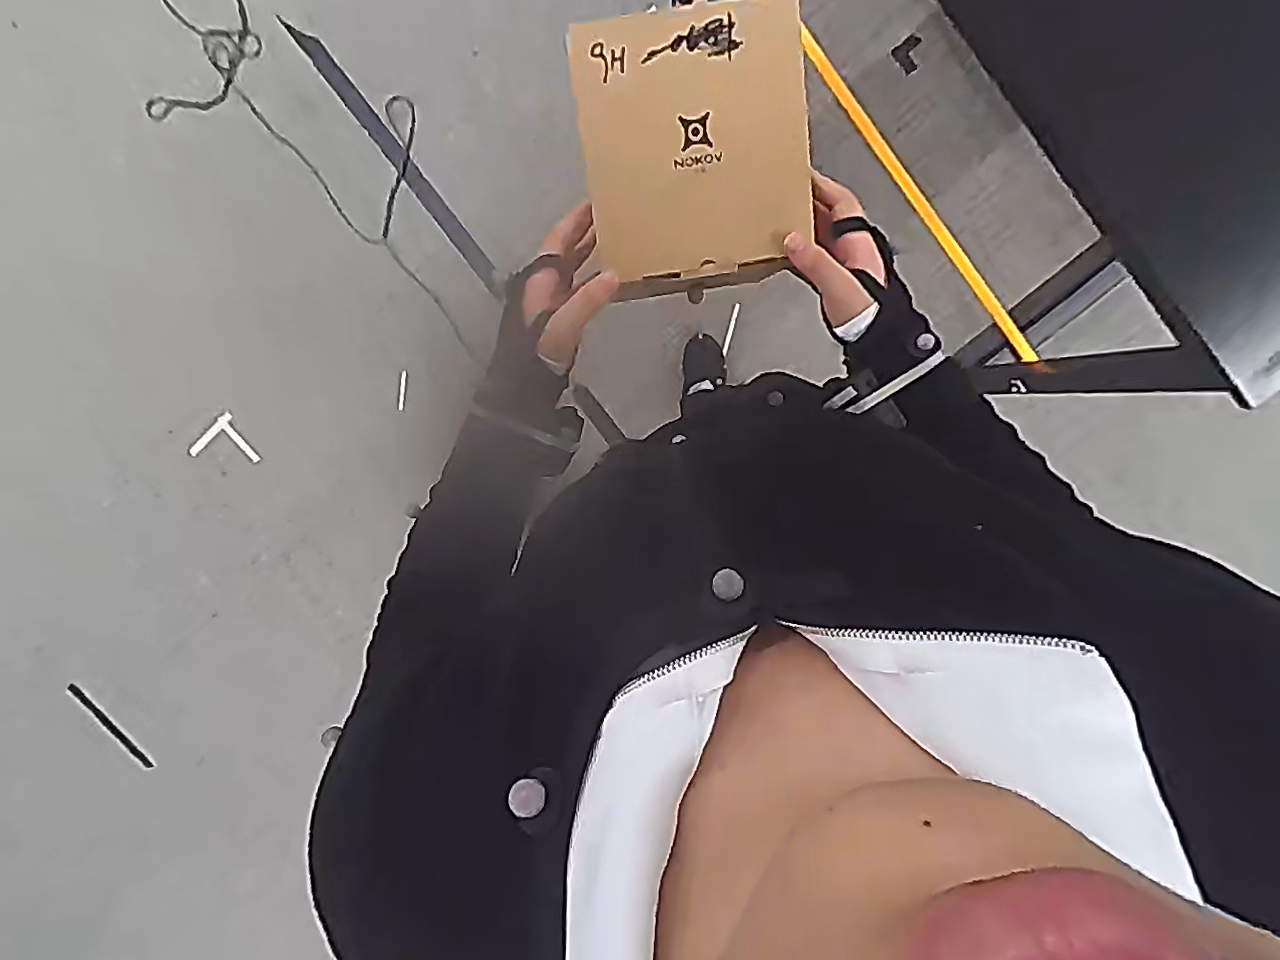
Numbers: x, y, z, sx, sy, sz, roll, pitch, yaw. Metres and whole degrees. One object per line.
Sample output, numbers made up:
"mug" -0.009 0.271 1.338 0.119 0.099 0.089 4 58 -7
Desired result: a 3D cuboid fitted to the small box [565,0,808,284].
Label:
"small box" 0.038 -0.272 0.472 0.168 0.176 0.179 -8 106 1
